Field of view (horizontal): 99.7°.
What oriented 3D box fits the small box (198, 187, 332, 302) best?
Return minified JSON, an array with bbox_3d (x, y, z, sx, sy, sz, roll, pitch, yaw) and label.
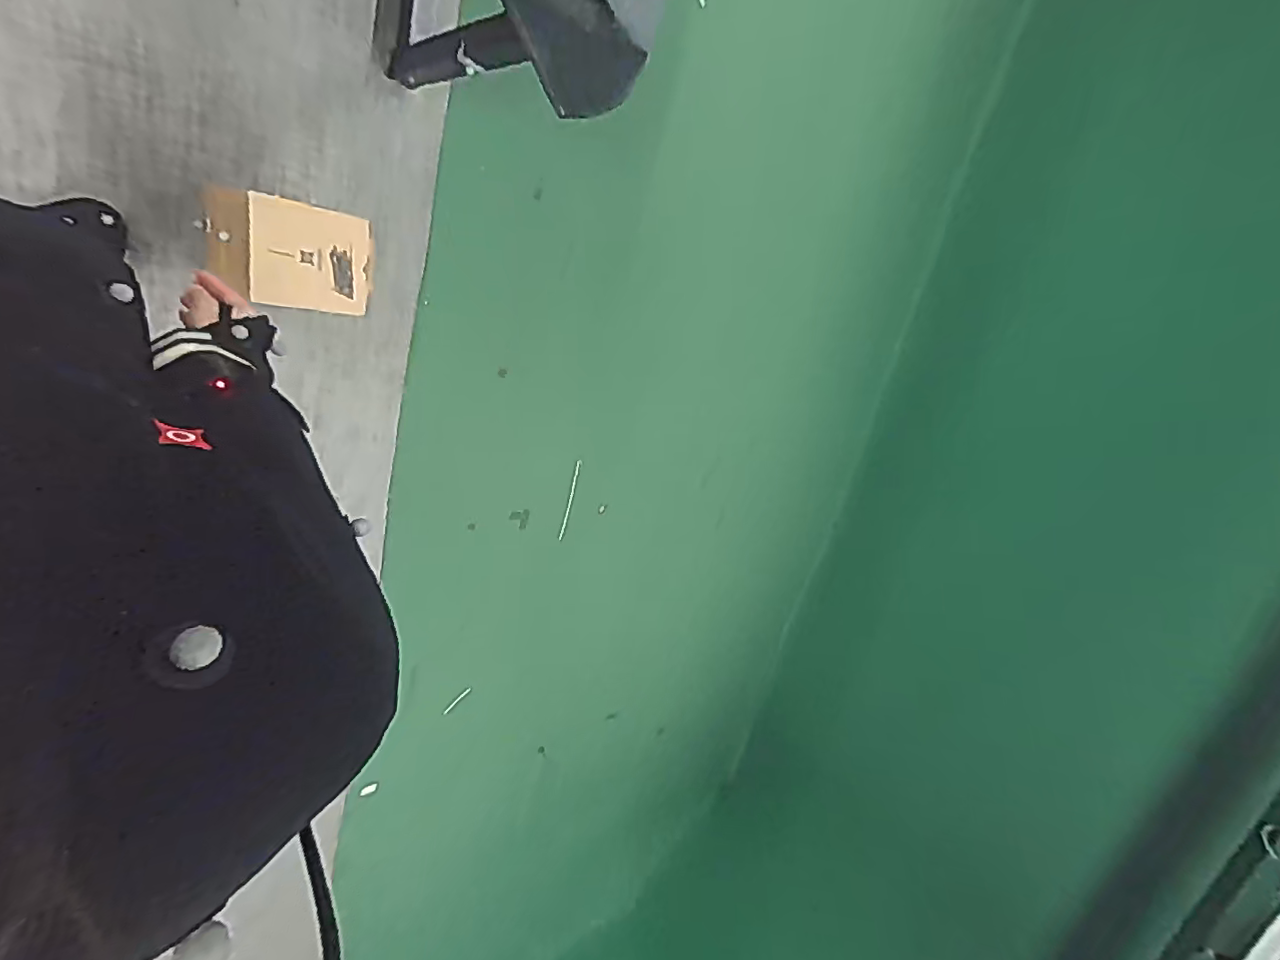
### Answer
[{"bbox_3d":[-0.715,-0.449,1.032,0.179,0.176,0.168,-7,115,-46],"label":"small box"}]
